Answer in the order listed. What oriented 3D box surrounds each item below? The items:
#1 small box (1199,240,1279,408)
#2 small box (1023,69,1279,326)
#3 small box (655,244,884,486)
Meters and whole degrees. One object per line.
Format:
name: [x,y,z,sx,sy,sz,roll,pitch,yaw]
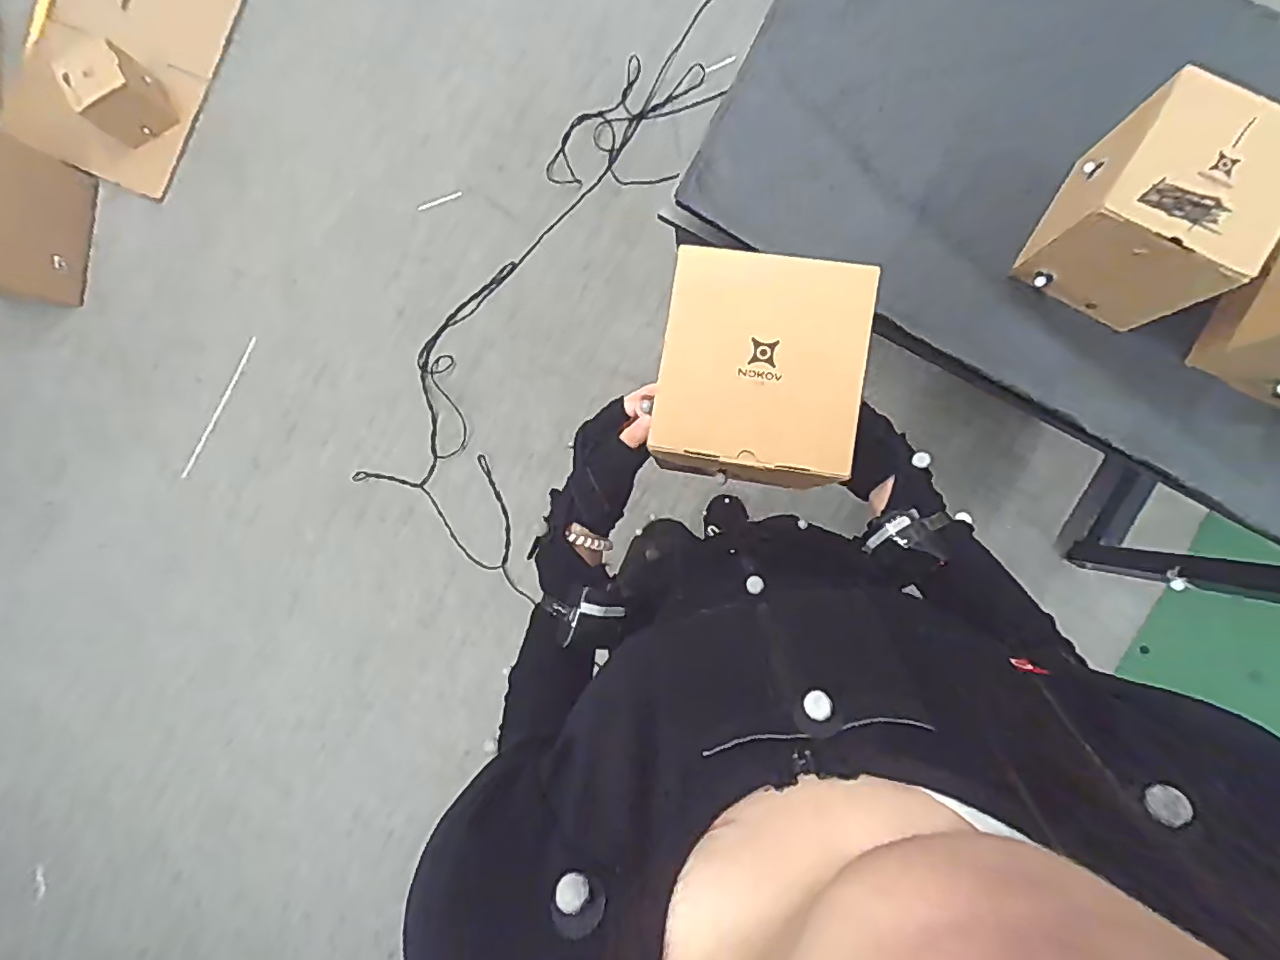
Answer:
small box: [0.809,-0.191,0.606,0.168,0.176,0.179,29,91,7]
small box: [0.600,-0.310,0.633,0.168,0.176,0.179,31,90,6]
small box: [0.109,-0.094,0.516,0.168,0.176,0.179,9,88,5]
